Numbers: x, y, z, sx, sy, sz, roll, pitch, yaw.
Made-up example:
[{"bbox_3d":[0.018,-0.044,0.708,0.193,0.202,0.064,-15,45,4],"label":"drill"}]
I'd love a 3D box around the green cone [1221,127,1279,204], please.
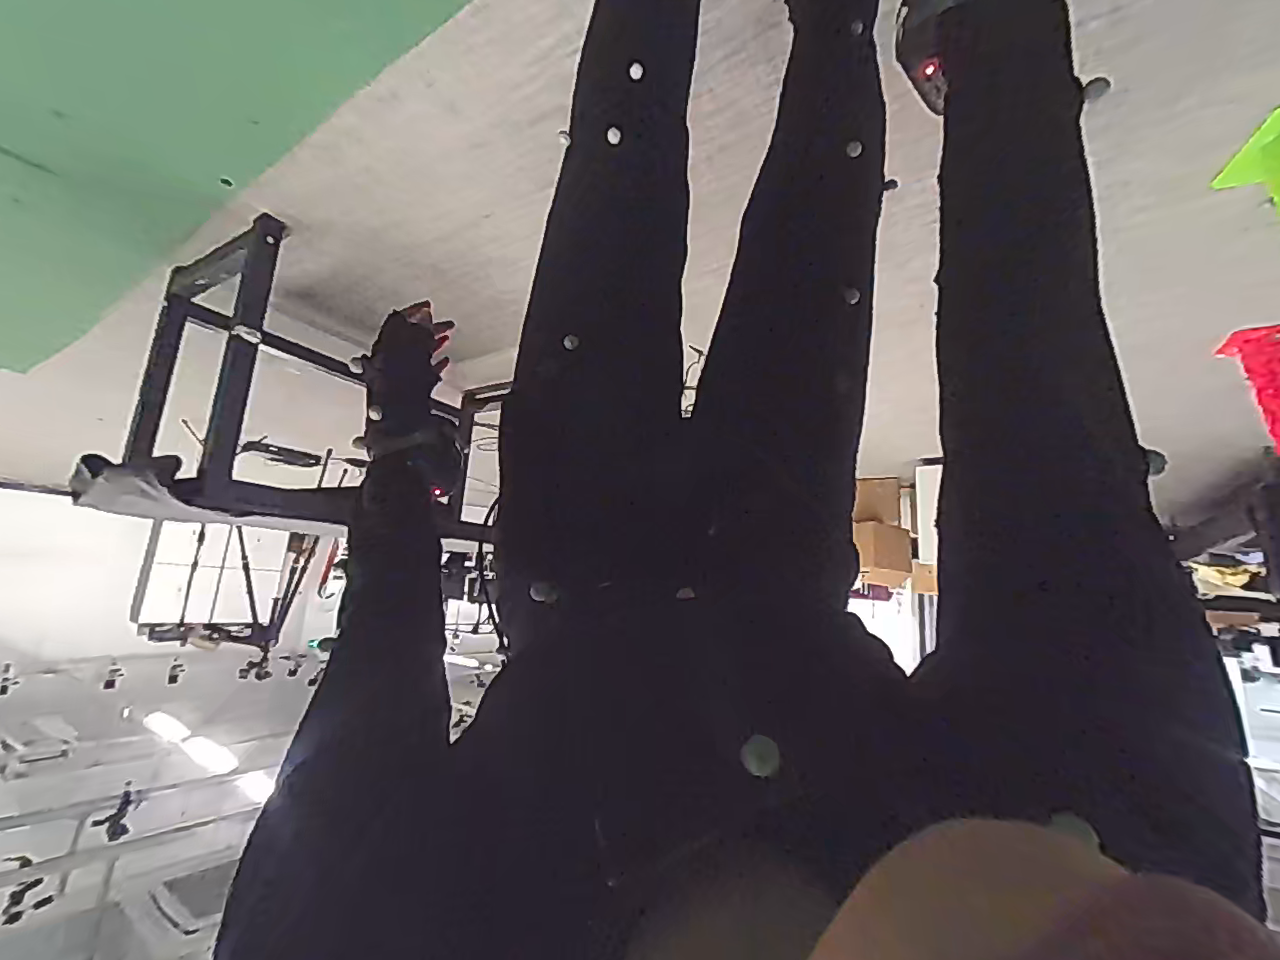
[{"bbox_3d":[1.173,-0.407,0.900,0.200,0.368,0.202,-1,166,23],"label":"green cone"}]
